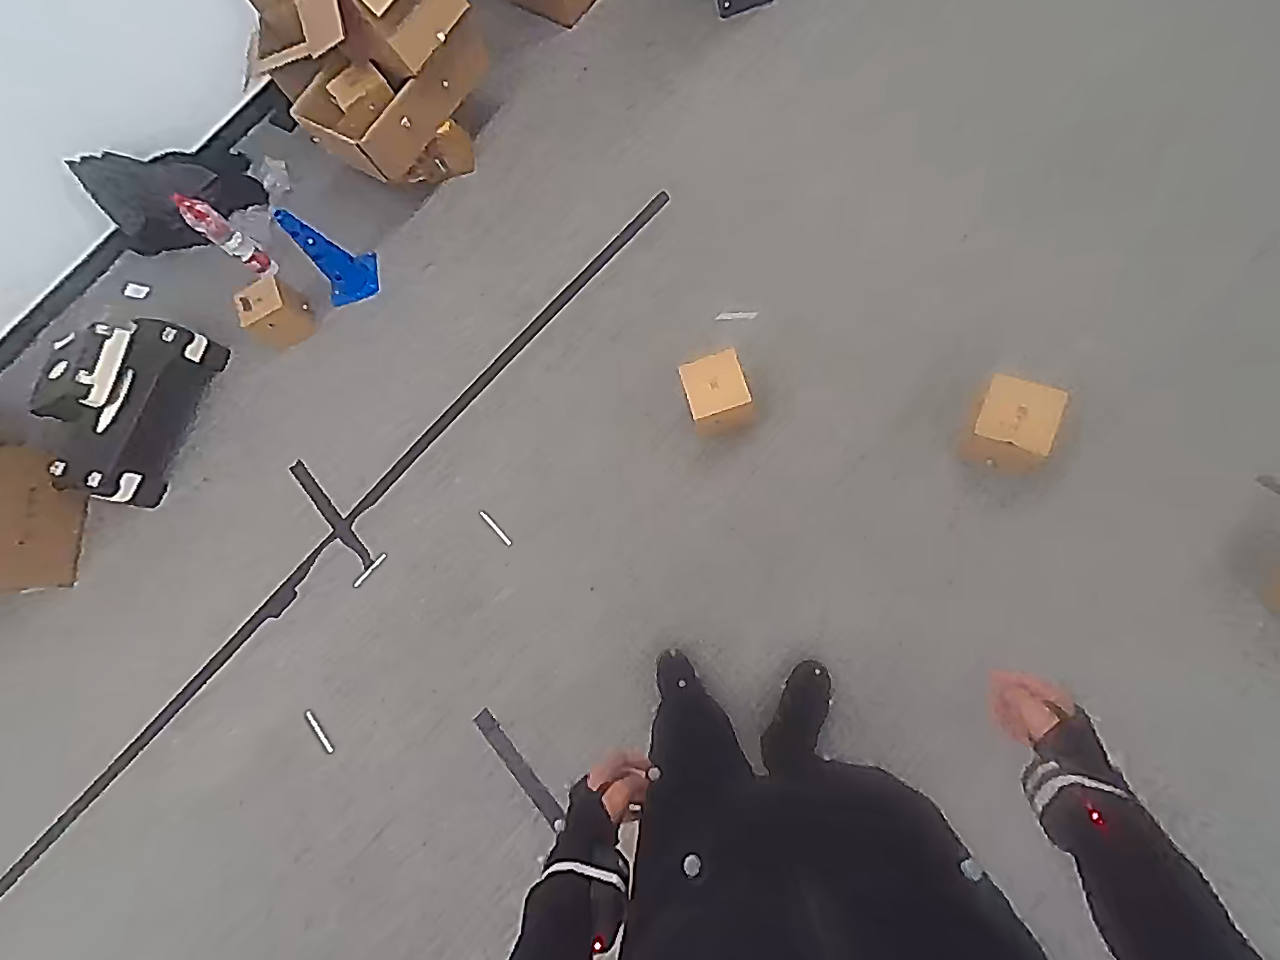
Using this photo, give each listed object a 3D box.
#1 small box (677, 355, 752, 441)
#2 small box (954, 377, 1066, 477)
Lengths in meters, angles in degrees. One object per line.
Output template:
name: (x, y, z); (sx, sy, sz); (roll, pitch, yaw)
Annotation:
small box: (0.221, -0.226, 1.570); (0.168, 0.176, 0.179); (-19, 70, 8)
small box: (0.933, -0.130, 1.379); (0.168, 0.176, 0.179); (22, 80, 18)
